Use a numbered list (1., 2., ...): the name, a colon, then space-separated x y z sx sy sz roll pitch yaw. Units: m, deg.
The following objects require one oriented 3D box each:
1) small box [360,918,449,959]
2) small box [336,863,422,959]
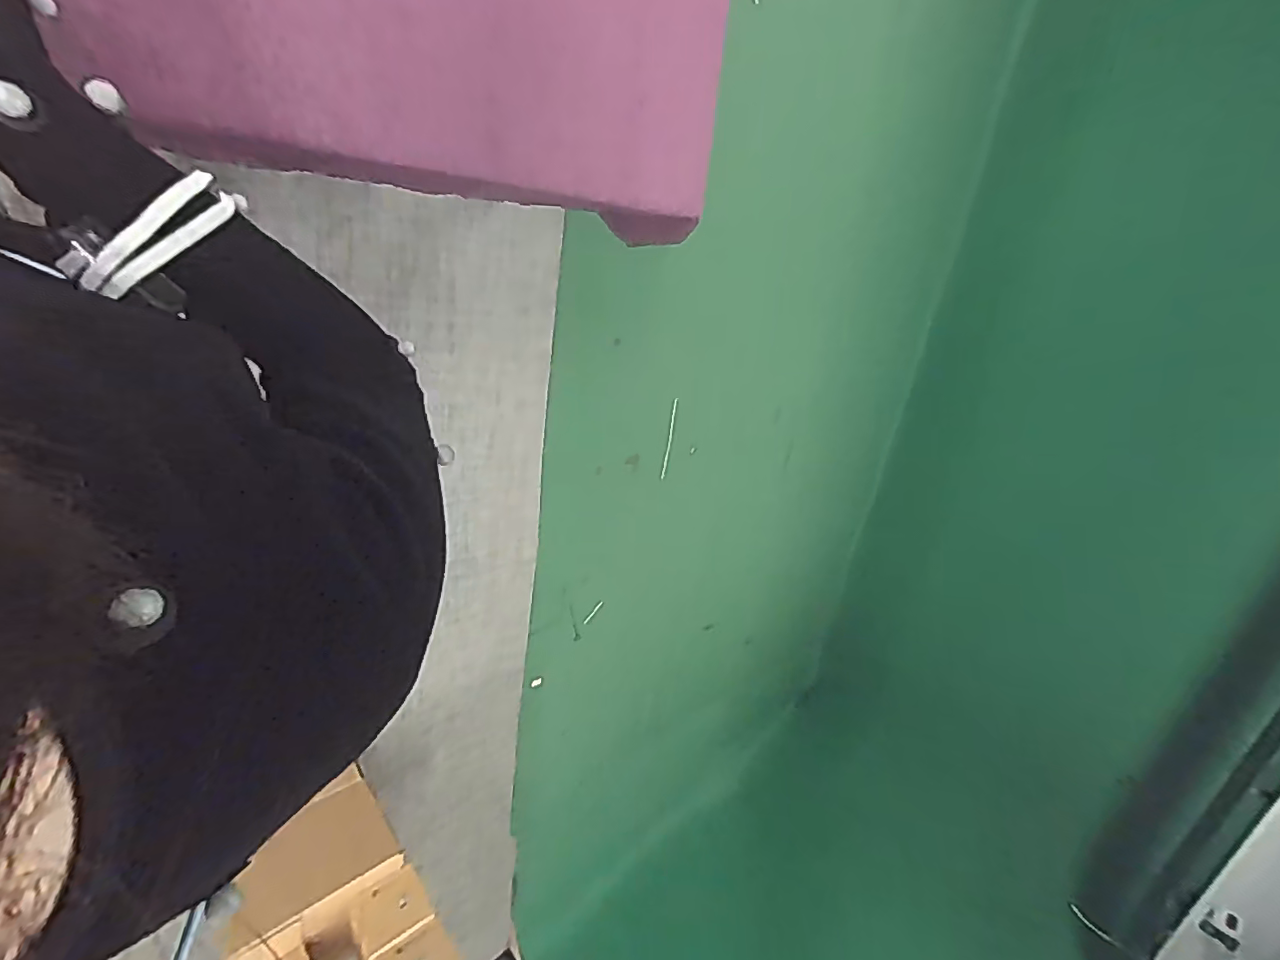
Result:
1. small box: -0.592 1.254 1.352 0.168 0.176 0.179 -8 118 -44
2. small box: -0.702 1.180 1.450 0.168 0.176 0.179 -10 120 -43
